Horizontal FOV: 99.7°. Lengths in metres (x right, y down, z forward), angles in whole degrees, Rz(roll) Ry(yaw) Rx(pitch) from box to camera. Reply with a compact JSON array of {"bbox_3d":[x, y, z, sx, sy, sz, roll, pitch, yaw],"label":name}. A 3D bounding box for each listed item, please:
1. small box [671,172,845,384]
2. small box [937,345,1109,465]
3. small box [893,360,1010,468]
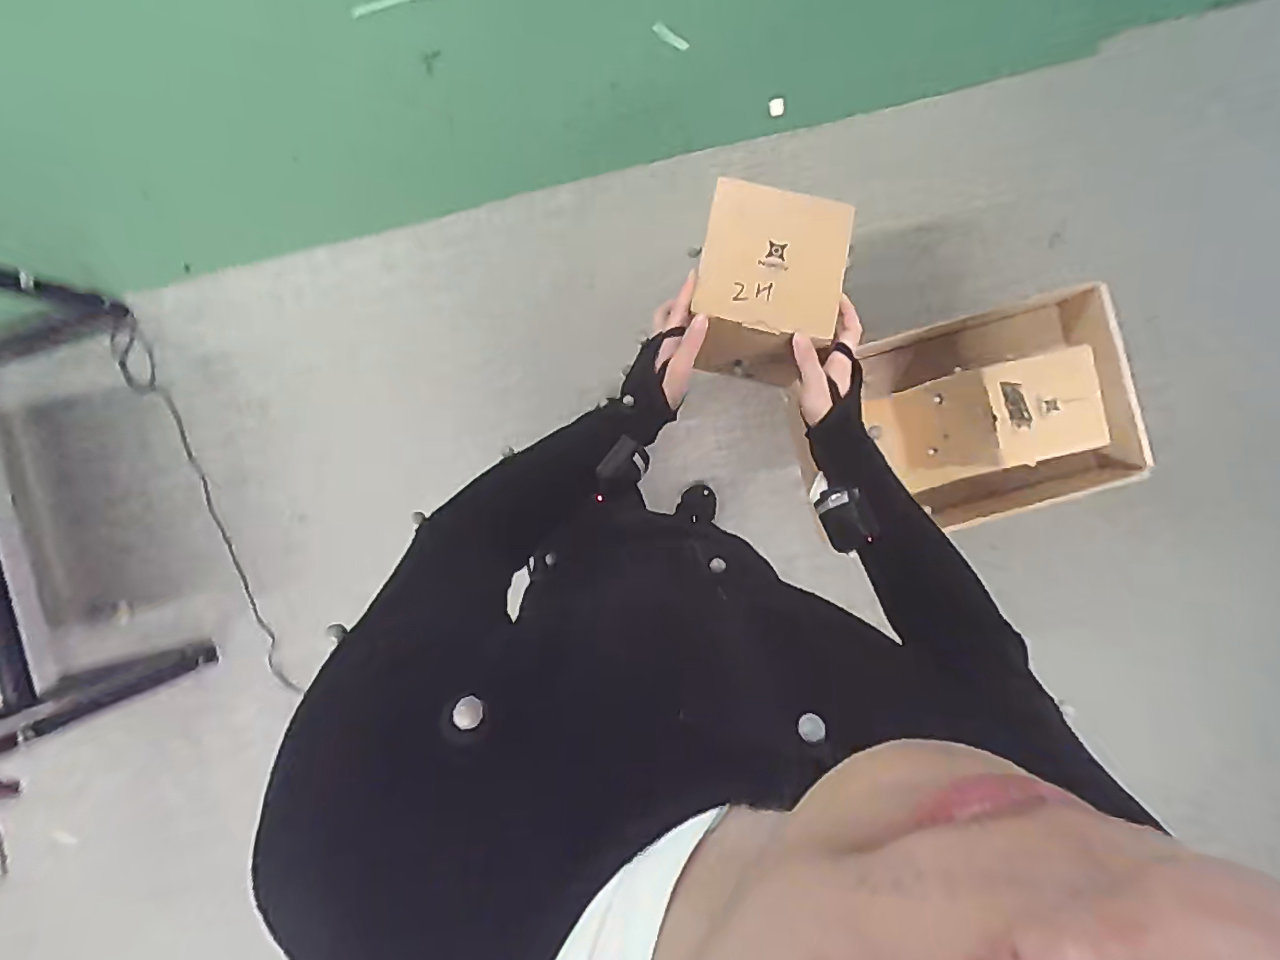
[{"bbox_3d":[0.138,-0.243,0.687,0.168,0.176,0.179,12,82,0],"label":"small box"},{"bbox_3d":[0.643,-0.120,0.935,0.179,0.176,0.168,-13,92,1],"label":"small box"},{"bbox_3d":[0.642,-0.126,1.099,0.168,0.176,0.179,-15,92,2],"label":"small box"}]
